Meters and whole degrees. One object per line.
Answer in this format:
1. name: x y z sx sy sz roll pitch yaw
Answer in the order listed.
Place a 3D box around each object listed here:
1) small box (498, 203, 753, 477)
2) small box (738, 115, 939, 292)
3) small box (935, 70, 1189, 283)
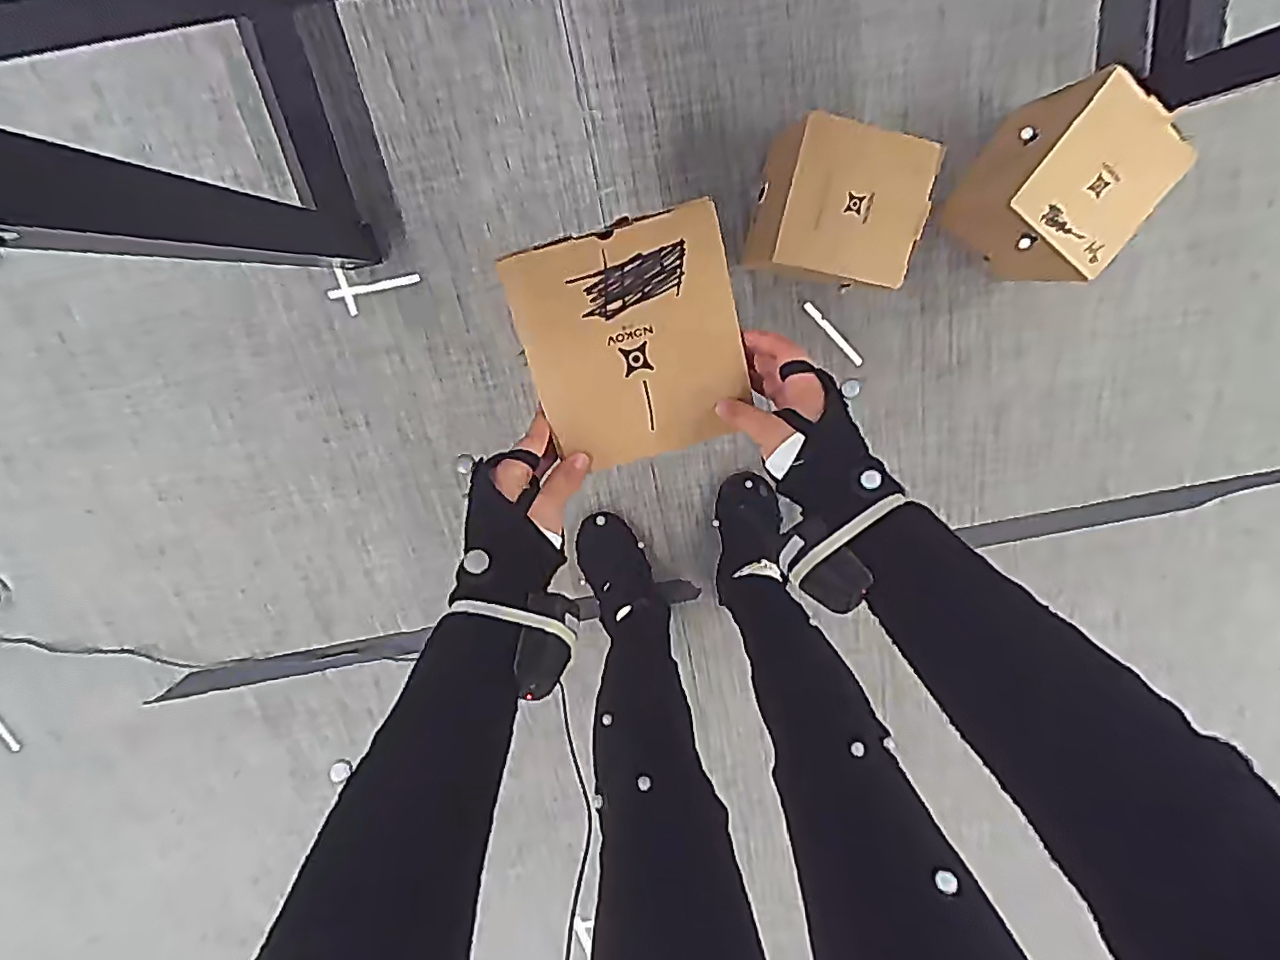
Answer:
1. small box: -0.013 -0.126 0.492 0.168 0.176 0.179 -15 109 1
2. small box: 0.250 -0.355 0.727 0.179 0.176 0.168 9 108 -7
3. small box: 0.551 -0.391 0.734 0.168 0.176 0.179 31 105 -14
